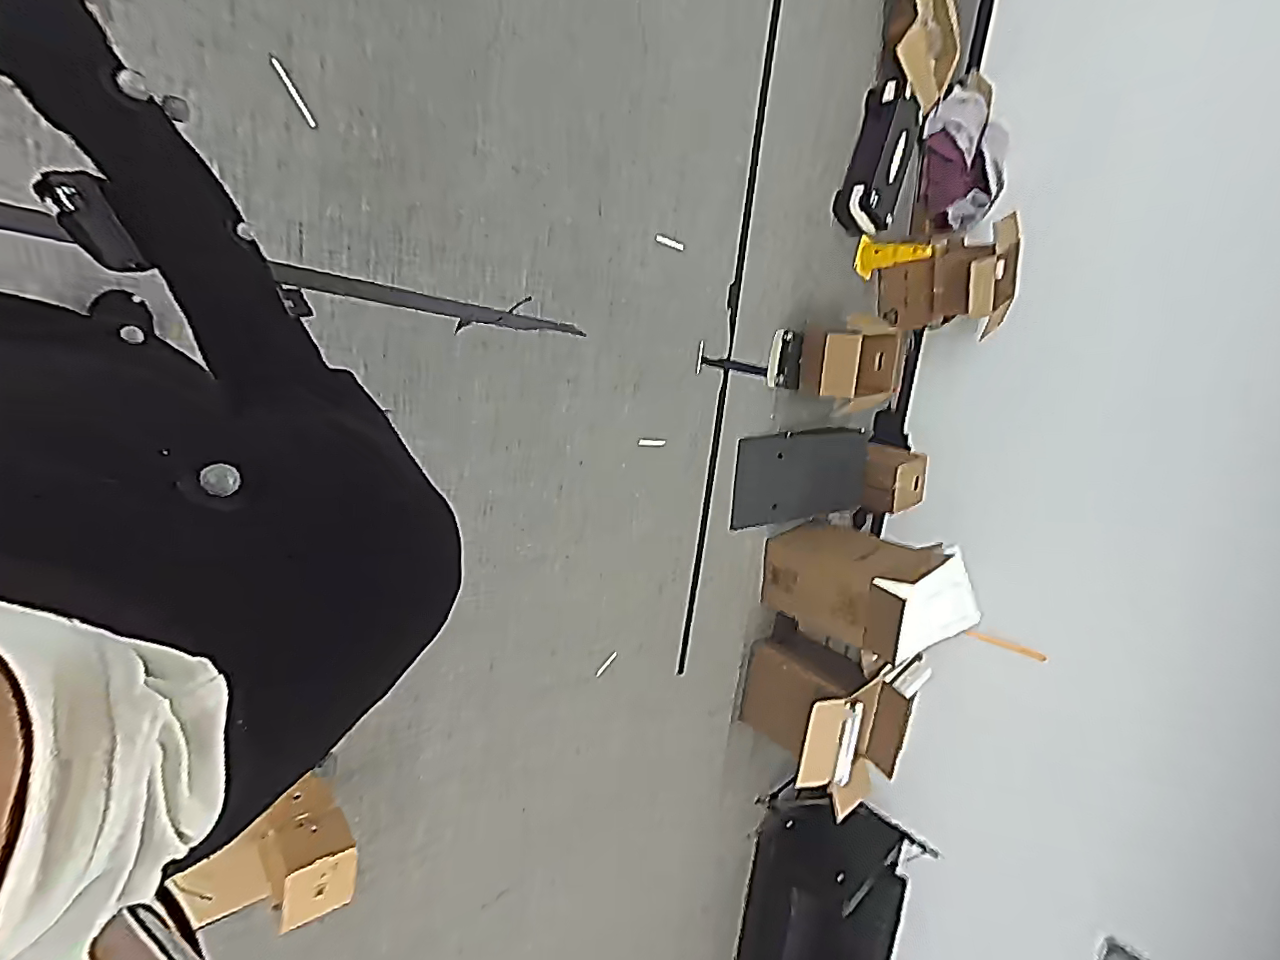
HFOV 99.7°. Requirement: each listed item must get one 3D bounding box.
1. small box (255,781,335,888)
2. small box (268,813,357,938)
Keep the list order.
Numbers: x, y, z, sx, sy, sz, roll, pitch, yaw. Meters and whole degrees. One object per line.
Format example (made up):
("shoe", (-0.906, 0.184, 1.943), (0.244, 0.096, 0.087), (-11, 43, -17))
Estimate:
("small box", (-0.997, 1.005, 1.558), (0.168, 0.176, 0.179), (1, 101, -43))
("small box", (-0.880, 1.048, 1.448), (0.168, 0.176, 0.179), (2, 101, -44))
